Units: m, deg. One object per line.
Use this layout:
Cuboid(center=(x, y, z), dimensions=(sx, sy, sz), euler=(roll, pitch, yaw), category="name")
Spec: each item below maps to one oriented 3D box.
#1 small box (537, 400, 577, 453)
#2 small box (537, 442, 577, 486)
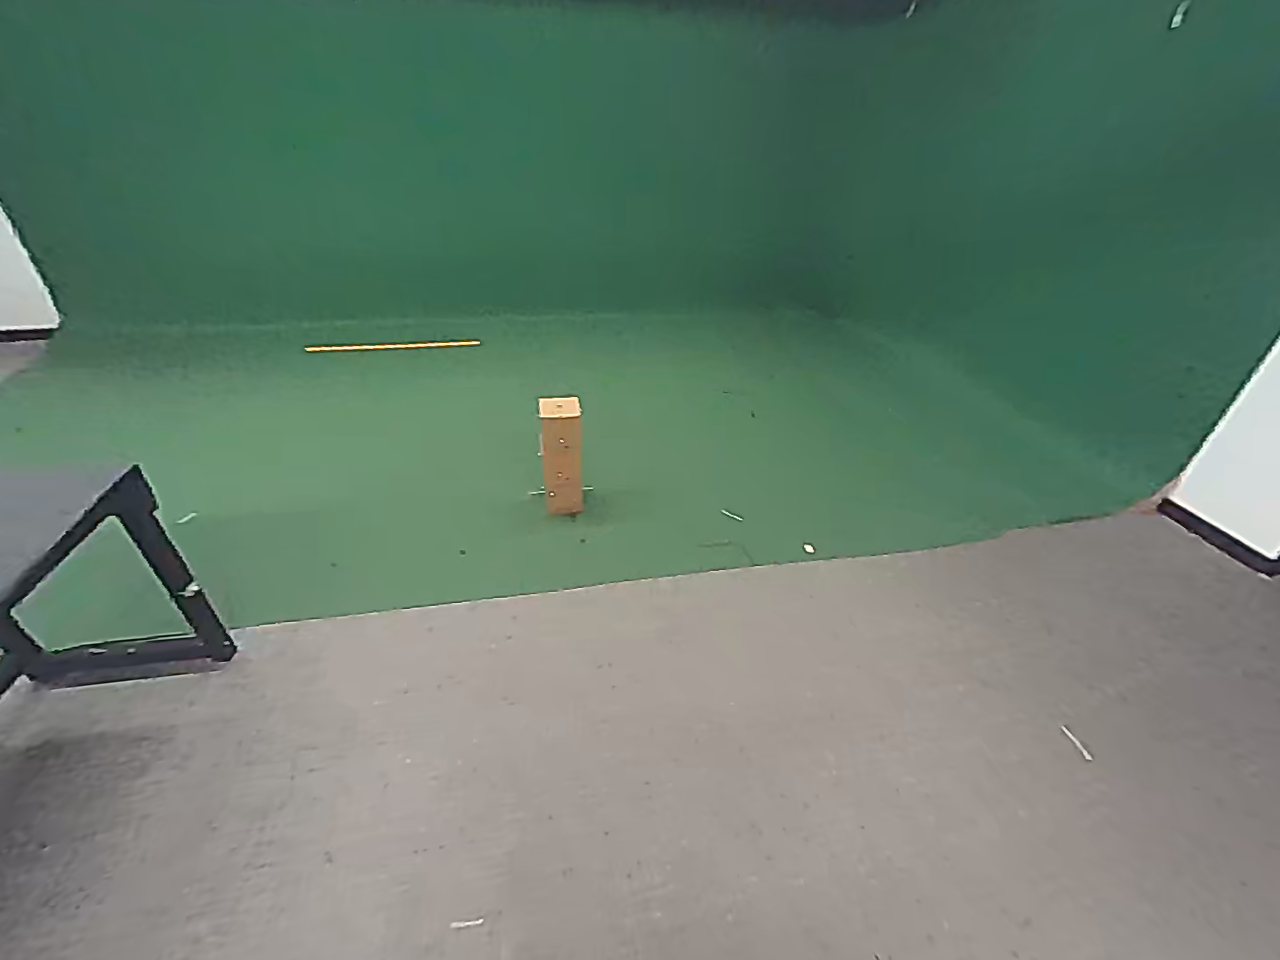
Cuboid(center=(-0.355, -0.229, 2.299), dimensions=(0.168, 0.176, 0.179), euler=(-3, 35, -10), category="small box")
Cuboid(center=(-0.369, -0.089, 2.386), dimensions=(0.168, 0.176, 0.179), euler=(-4, 35, -11), category="small box")
